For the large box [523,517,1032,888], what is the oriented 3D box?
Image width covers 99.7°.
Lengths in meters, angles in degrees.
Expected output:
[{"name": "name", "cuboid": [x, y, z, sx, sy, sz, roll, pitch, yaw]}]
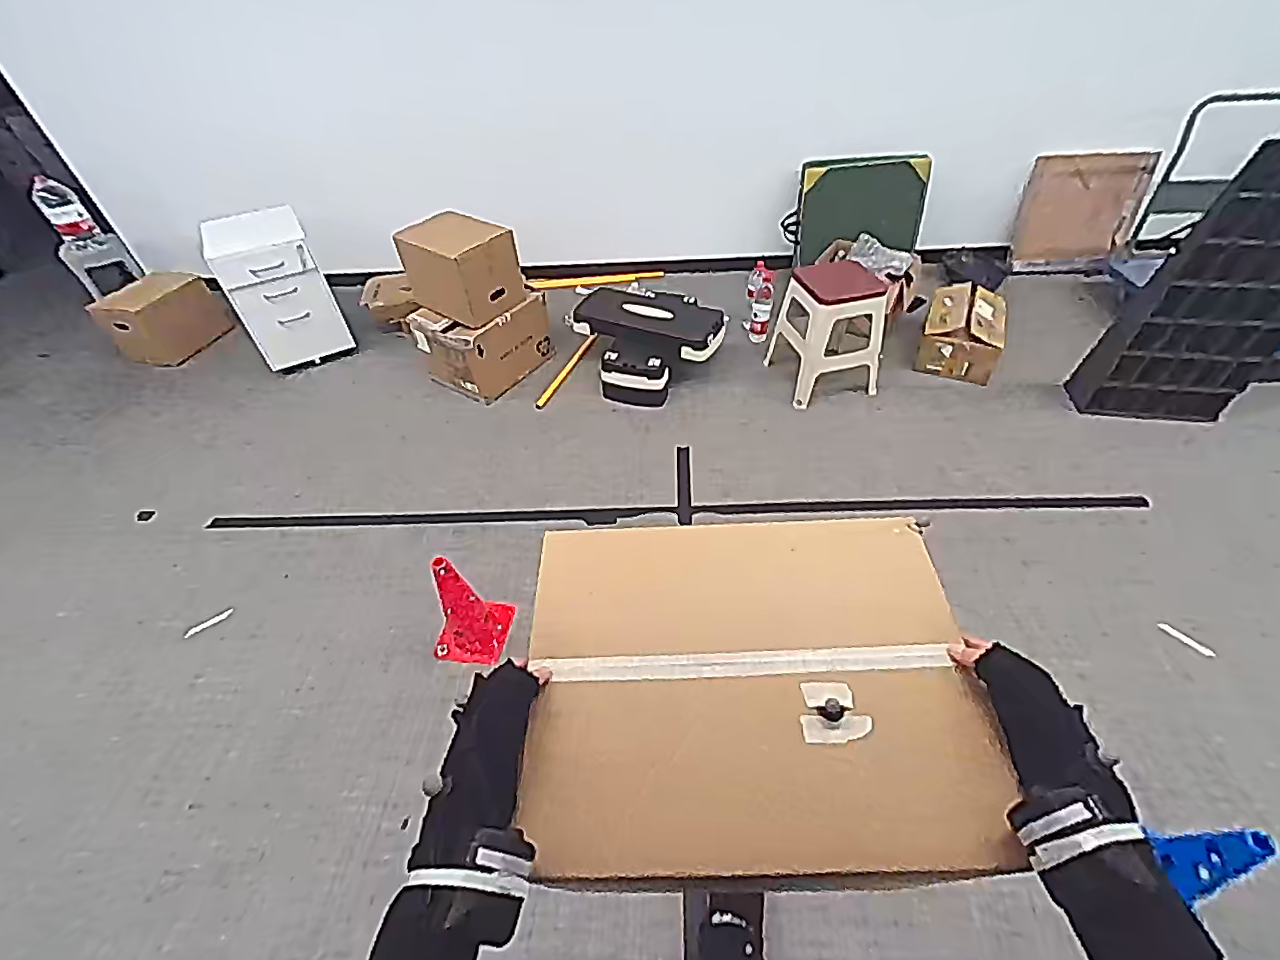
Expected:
[{"name": "large box", "cuboid": [0.106, 0.263, 0.624, 0.408, 0.320, 0.320, -2, 51, 2]}]

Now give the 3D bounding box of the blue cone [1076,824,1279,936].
[{"name": "blue cone", "cuboid": [1.051, 0.732, 1.034, 0.192, 0.380, 0.193, 2, 46, 5]}]

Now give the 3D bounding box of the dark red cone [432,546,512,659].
[{"name": "dark red cone", "cuboid": [-0.501, 0.319, 1.494, 0.201, 0.394, 0.202, 4, 46, 6]}]
